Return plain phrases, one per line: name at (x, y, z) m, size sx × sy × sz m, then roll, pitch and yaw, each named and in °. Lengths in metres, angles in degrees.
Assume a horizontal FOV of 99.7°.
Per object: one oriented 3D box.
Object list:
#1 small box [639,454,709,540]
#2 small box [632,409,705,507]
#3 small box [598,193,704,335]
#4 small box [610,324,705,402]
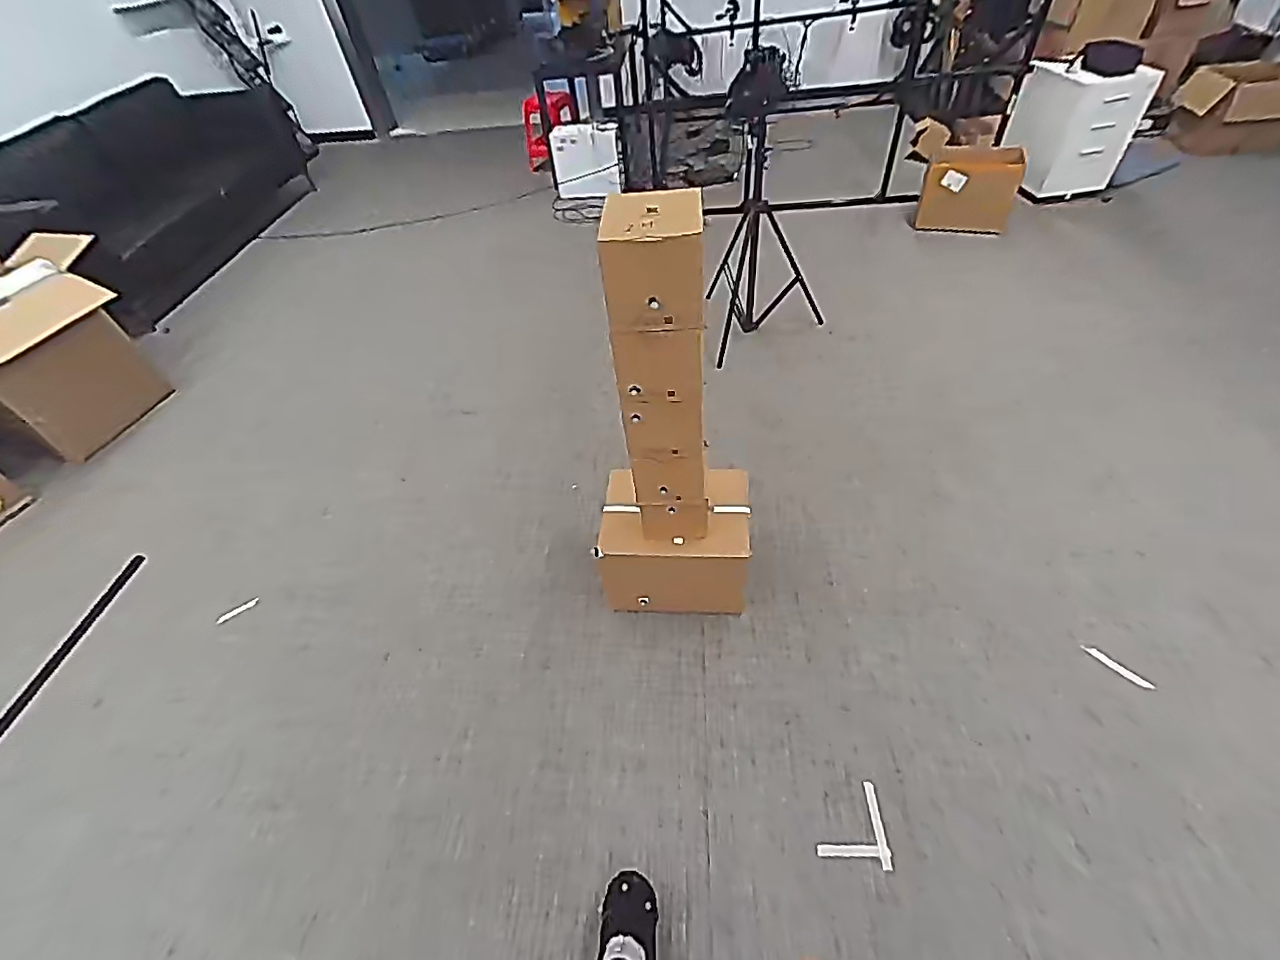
small box at (0.094, 0.048, 1.439) m, size 0.179 × 0.176 × 0.168 m, roll -1°, pitch 49°, yaw 5°
small box at (0.074, -0.054, 1.314) m, size 0.168 × 0.176 × 0.179 m, roll -1°, pitch 49°, yaw 6°
small box at (0.027, -0.374, 0.943) m, size 0.168 × 0.176 × 0.179 m, roll -2°, pitch 49°, yaw 6°
small box at (0.043, -0.268, 1.067) m, size 0.168 × 0.176 × 0.179 m, roll 1°, pitch 49°, yaw 8°
